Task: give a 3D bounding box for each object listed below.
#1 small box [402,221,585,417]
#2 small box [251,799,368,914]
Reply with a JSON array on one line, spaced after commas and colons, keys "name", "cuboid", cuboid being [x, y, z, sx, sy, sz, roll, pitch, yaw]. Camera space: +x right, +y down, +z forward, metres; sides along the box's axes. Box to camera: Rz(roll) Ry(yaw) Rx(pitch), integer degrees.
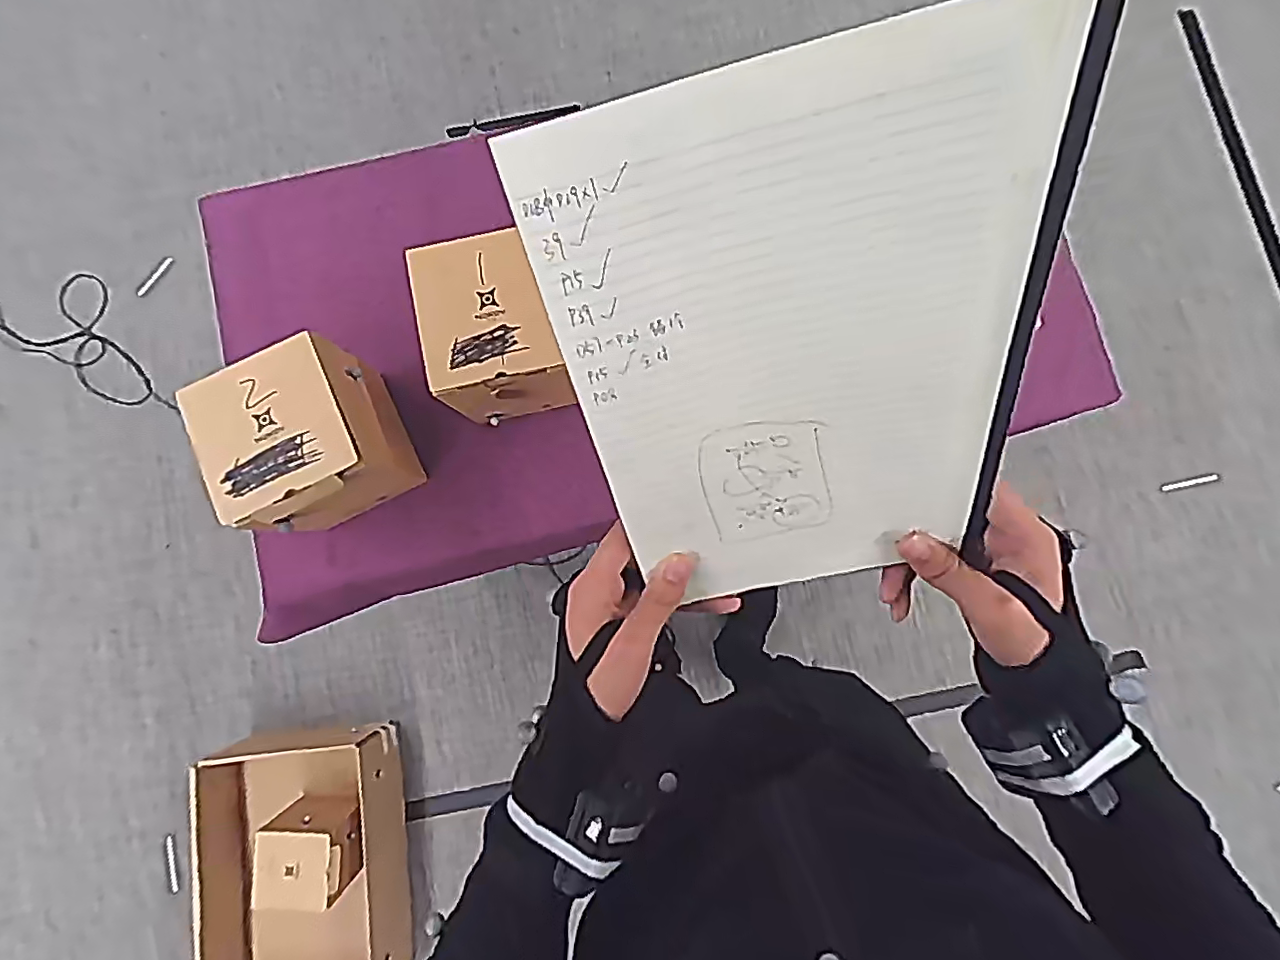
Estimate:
[{"name": "small box", "cuboid": [-0.172, -0.187, 0.684, 0.168, 0.176, 0.179, -12, 83, 0]}, {"name": "small box", "cuboid": [-0.768, 0.877, 1.274, 0.179, 0.176, 0.168, 1, 85, 1]}]
